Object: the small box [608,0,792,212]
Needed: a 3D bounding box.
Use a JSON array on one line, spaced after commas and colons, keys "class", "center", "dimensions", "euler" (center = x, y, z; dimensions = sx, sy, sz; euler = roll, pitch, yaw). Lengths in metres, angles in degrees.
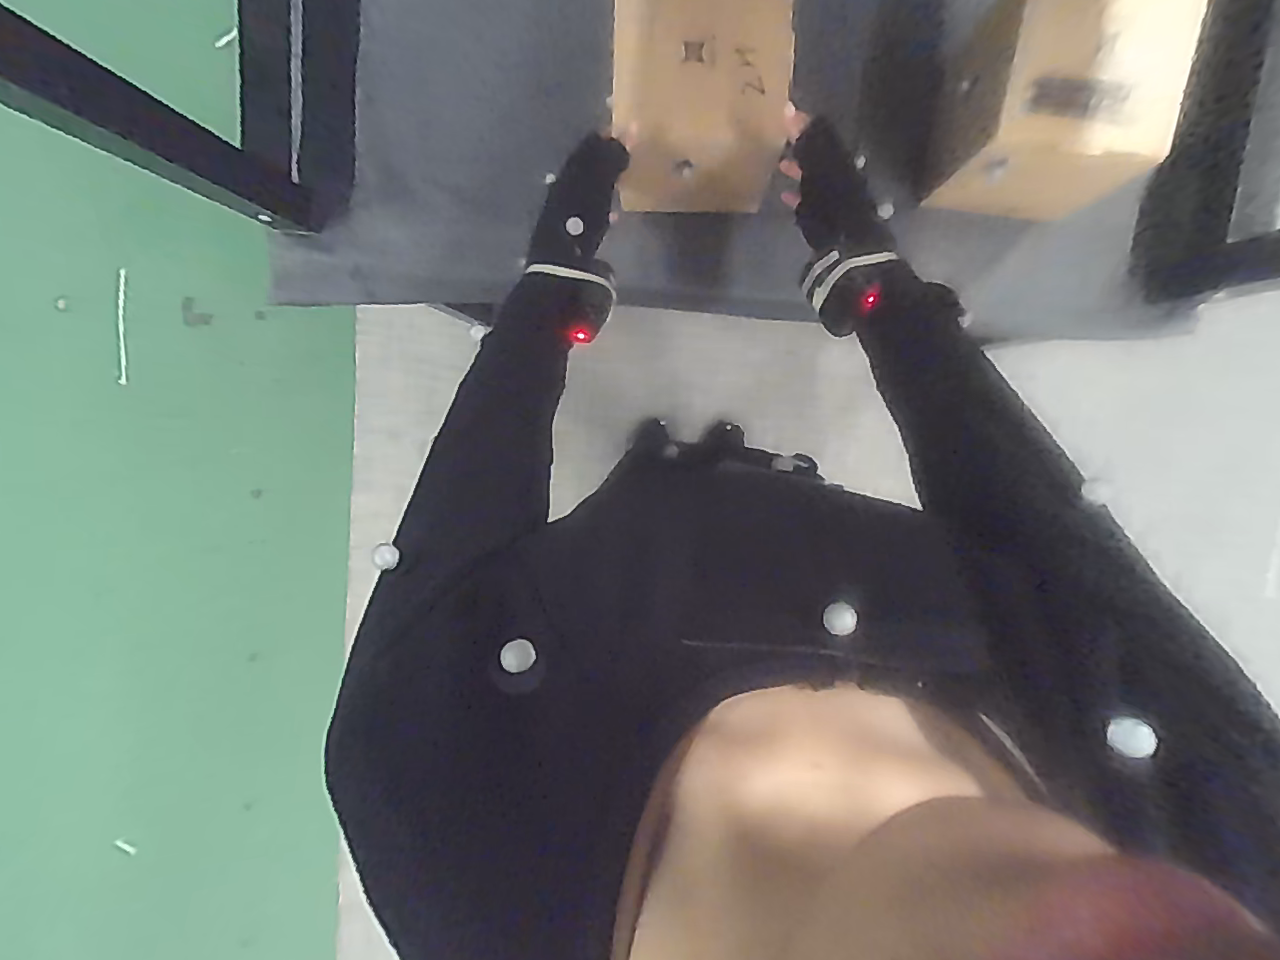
[{"class": "small box", "center": [0.061, -0.419, 0.609], "dimensions": [0.179, 0.176, 0.168], "euler": [2, 96, 2]}]
